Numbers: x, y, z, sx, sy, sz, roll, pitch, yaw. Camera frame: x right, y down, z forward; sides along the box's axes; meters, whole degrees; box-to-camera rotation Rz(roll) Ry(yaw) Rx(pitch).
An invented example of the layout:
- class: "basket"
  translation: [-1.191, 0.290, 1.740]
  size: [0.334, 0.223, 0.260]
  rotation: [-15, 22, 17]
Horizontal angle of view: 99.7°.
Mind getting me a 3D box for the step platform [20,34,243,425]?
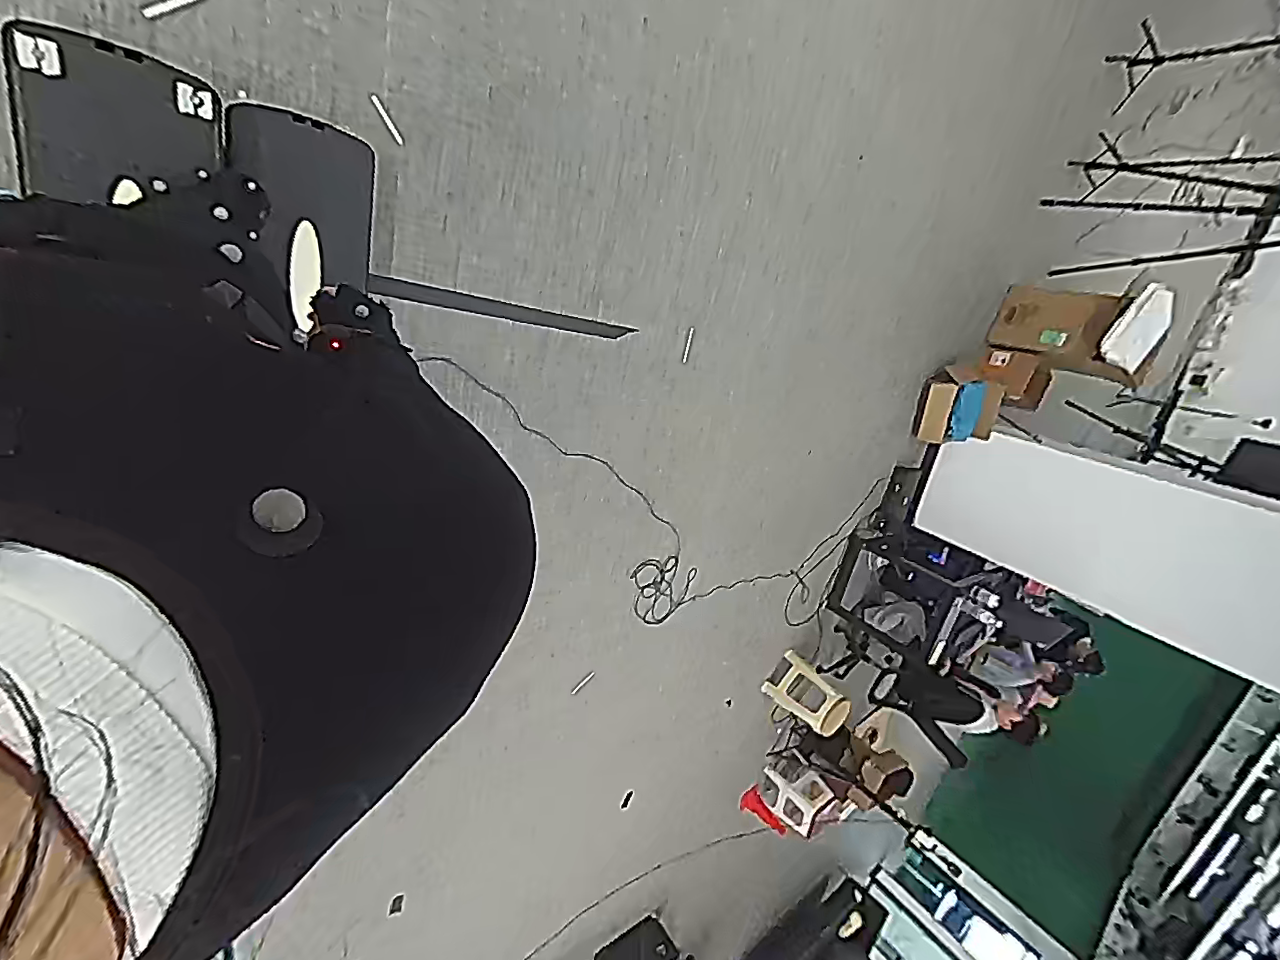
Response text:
- class: "step platform"
  translation: [-0.988, -0.453, 1.090]
  size: [0.286, 0.204, 0.684]
  rotation: [-4, 113, -40]
